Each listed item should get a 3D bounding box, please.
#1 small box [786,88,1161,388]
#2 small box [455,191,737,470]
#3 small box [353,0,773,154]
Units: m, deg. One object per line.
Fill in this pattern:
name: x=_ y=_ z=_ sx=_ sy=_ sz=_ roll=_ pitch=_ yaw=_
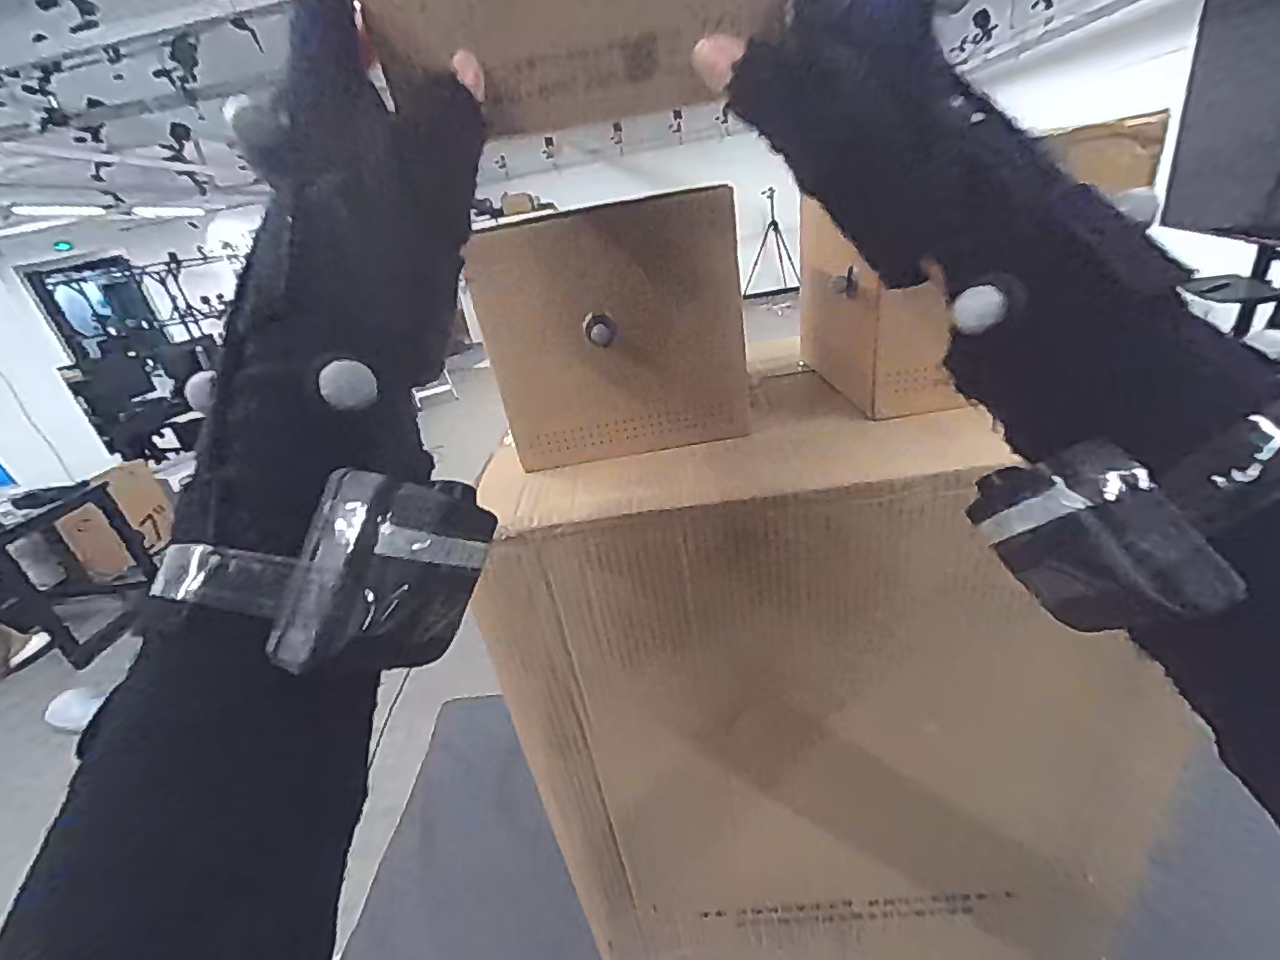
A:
small box: x=0.222 y=-0.178 z=0.418 sx=0.168 sy=0.176 sz=0.179 roll=-10 pitch=29 yaw=-2
small box: x=-0.021 y=-0.126 z=0.444 sx=0.179 sy=0.176 sz=0.168 roll=-10 pitch=28 yaw=3
small box: x=-0.039 y=-0.264 z=0.236 sx=0.168 sy=0.176 sz=0.179 roll=-9 pitch=47 yaw=3
